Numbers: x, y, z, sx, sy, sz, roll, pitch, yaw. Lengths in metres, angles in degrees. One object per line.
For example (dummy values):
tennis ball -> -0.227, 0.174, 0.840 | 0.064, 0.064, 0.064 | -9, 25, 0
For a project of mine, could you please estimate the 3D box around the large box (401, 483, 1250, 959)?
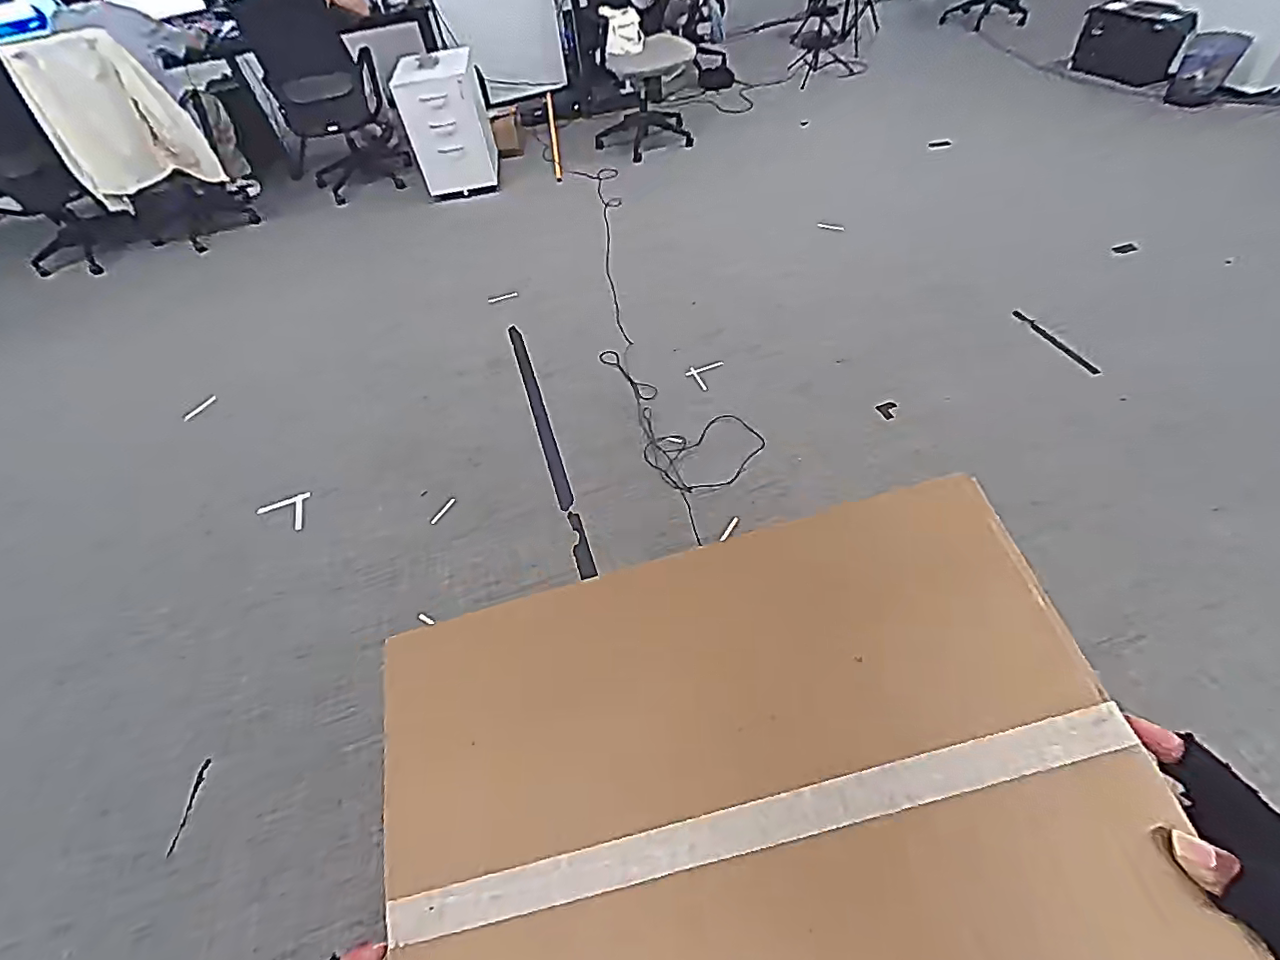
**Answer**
large box -> 0.086, 0.253, 0.427 | 0.408, 0.320, 0.320 | -17, 61, 2
